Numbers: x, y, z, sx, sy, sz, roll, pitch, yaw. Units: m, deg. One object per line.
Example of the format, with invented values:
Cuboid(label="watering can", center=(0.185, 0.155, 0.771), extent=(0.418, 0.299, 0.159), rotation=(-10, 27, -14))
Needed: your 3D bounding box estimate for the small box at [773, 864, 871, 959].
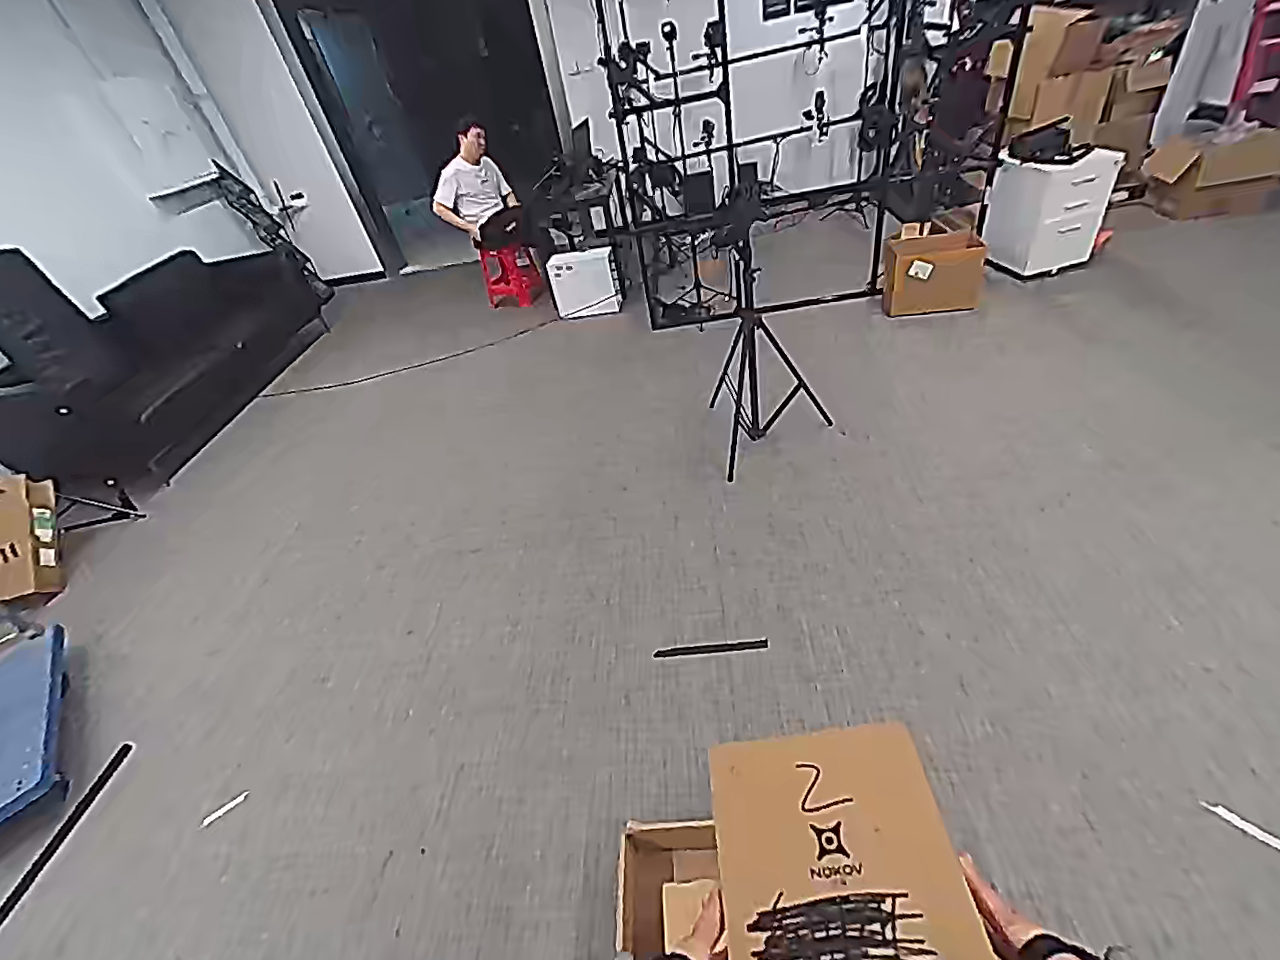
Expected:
Cuboid(label="small box", center=(0.351, 0.891, 1.065), extent=(0.168, 0.176, 0.179), rotation=(-4, 40, 11))

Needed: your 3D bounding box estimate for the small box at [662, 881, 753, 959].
Cuboid(label="small box", center=(0.137, 0.928, 1.074), extent=(0.168, 0.176, 0.179), rotation=(-7, 39, 4))
